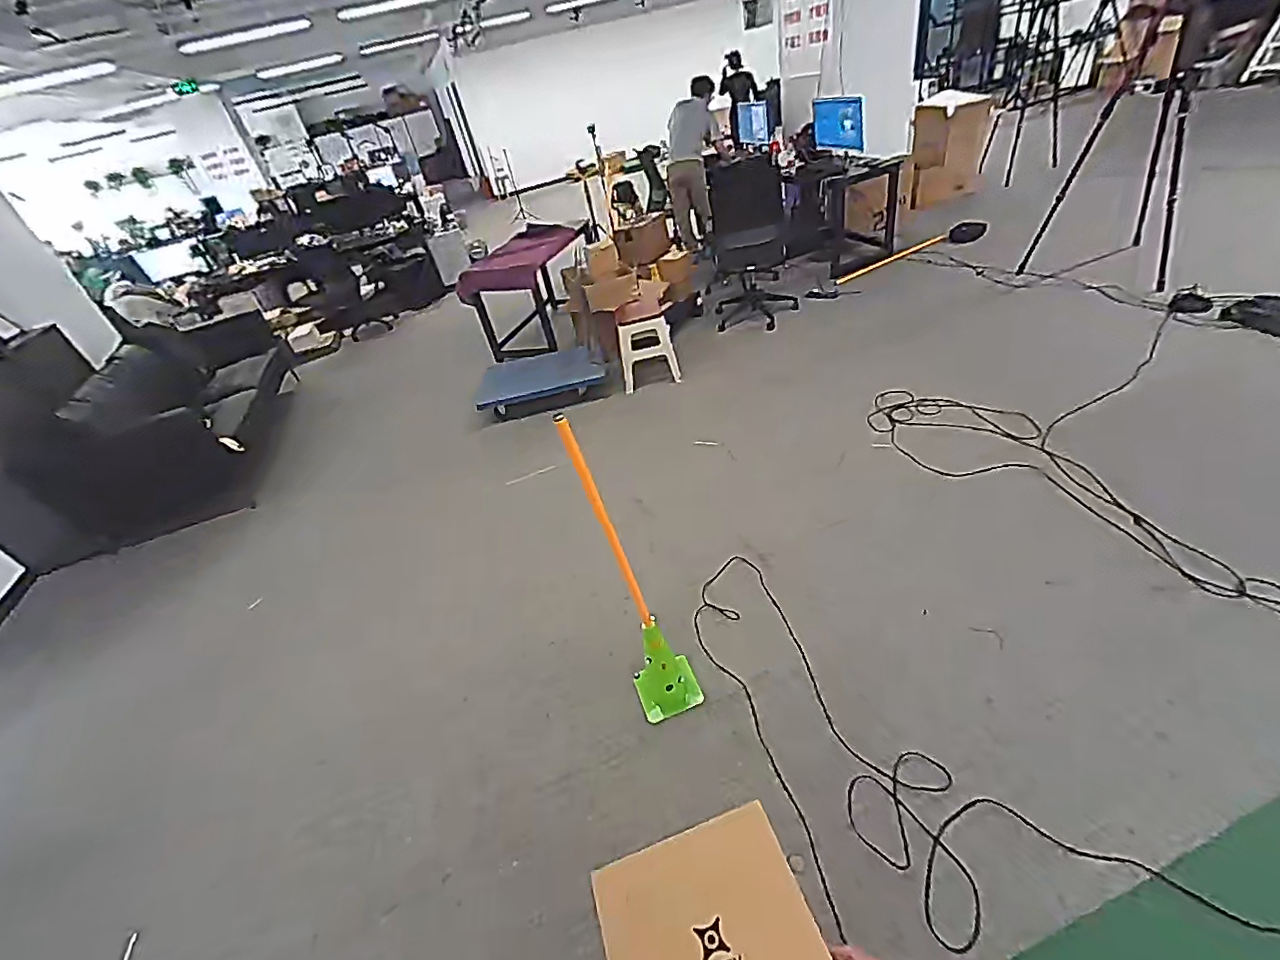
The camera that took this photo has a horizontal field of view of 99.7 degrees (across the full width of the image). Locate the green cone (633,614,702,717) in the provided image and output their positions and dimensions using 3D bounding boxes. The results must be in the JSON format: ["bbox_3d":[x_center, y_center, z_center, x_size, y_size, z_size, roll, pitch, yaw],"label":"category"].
[{"bbox_3d":[0.061,0.568,1.756,0.202,0.368,0.200,-19,38,-9],"label":"green cone"}]
